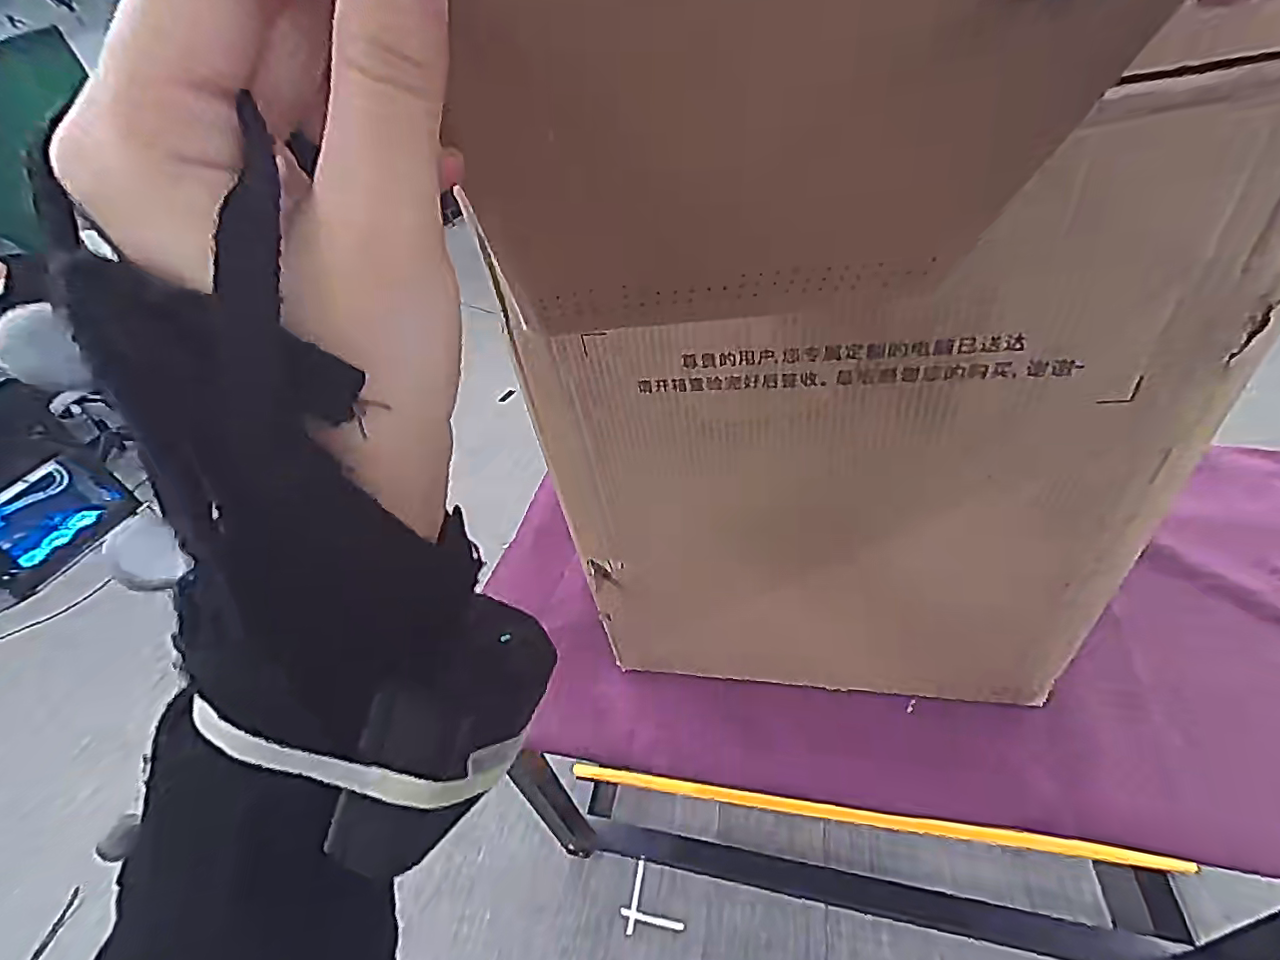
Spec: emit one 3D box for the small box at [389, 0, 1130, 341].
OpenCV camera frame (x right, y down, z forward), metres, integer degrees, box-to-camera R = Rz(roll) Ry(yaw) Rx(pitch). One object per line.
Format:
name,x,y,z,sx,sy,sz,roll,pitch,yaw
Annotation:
small box,0.027,-0.160,0.179,0.179,0.176,0.168,-5,76,0
